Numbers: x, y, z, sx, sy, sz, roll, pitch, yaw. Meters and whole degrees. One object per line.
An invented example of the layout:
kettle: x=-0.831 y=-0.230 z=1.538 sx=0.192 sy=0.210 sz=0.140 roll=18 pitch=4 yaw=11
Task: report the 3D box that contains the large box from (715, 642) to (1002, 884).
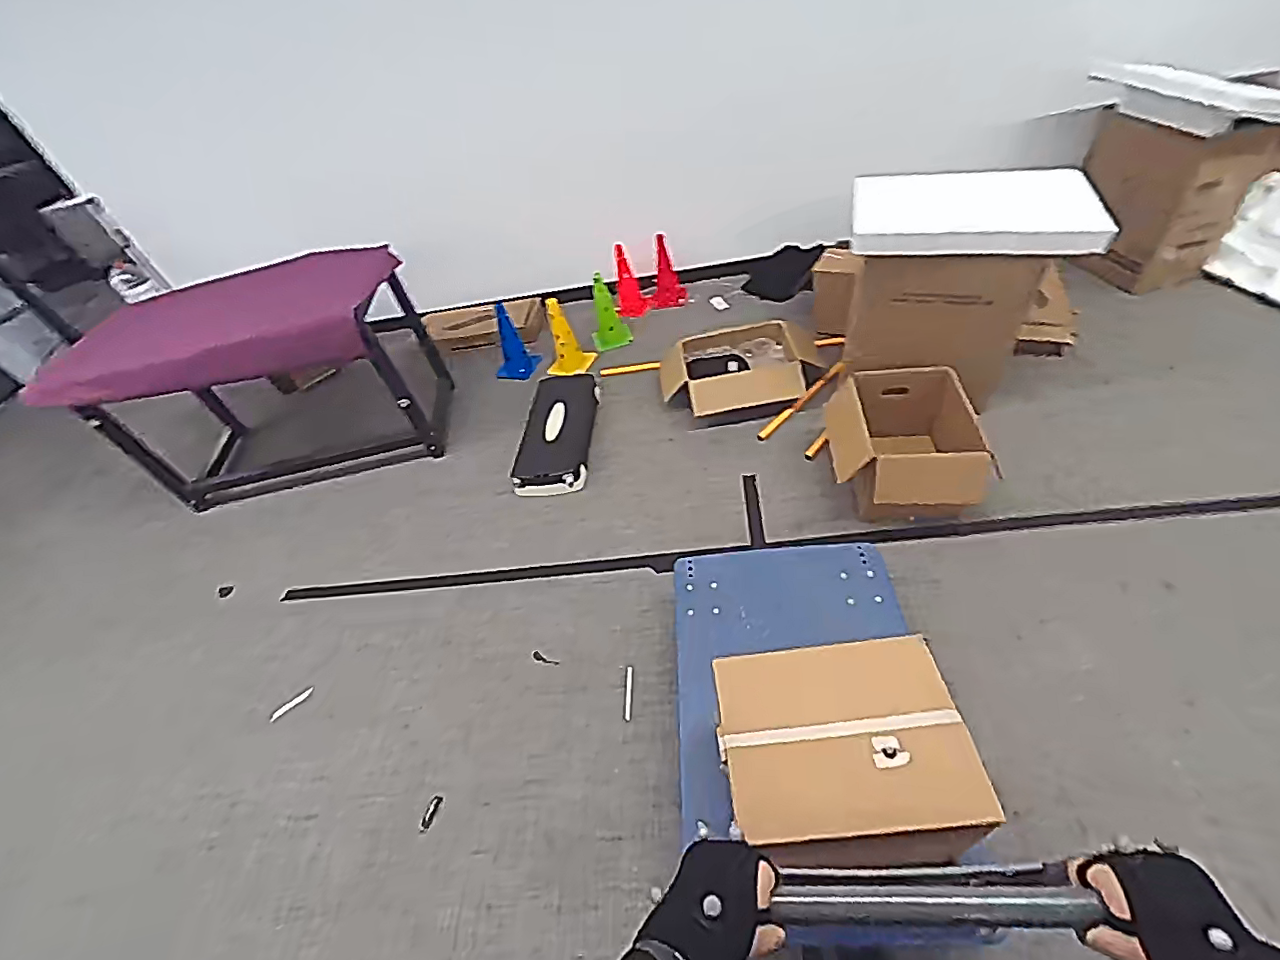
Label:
large box: x=0.372 y=0.550 z=1.045 sx=0.408 sy=0.320 sz=0.320 roll=-8 pitch=46 yaw=4
